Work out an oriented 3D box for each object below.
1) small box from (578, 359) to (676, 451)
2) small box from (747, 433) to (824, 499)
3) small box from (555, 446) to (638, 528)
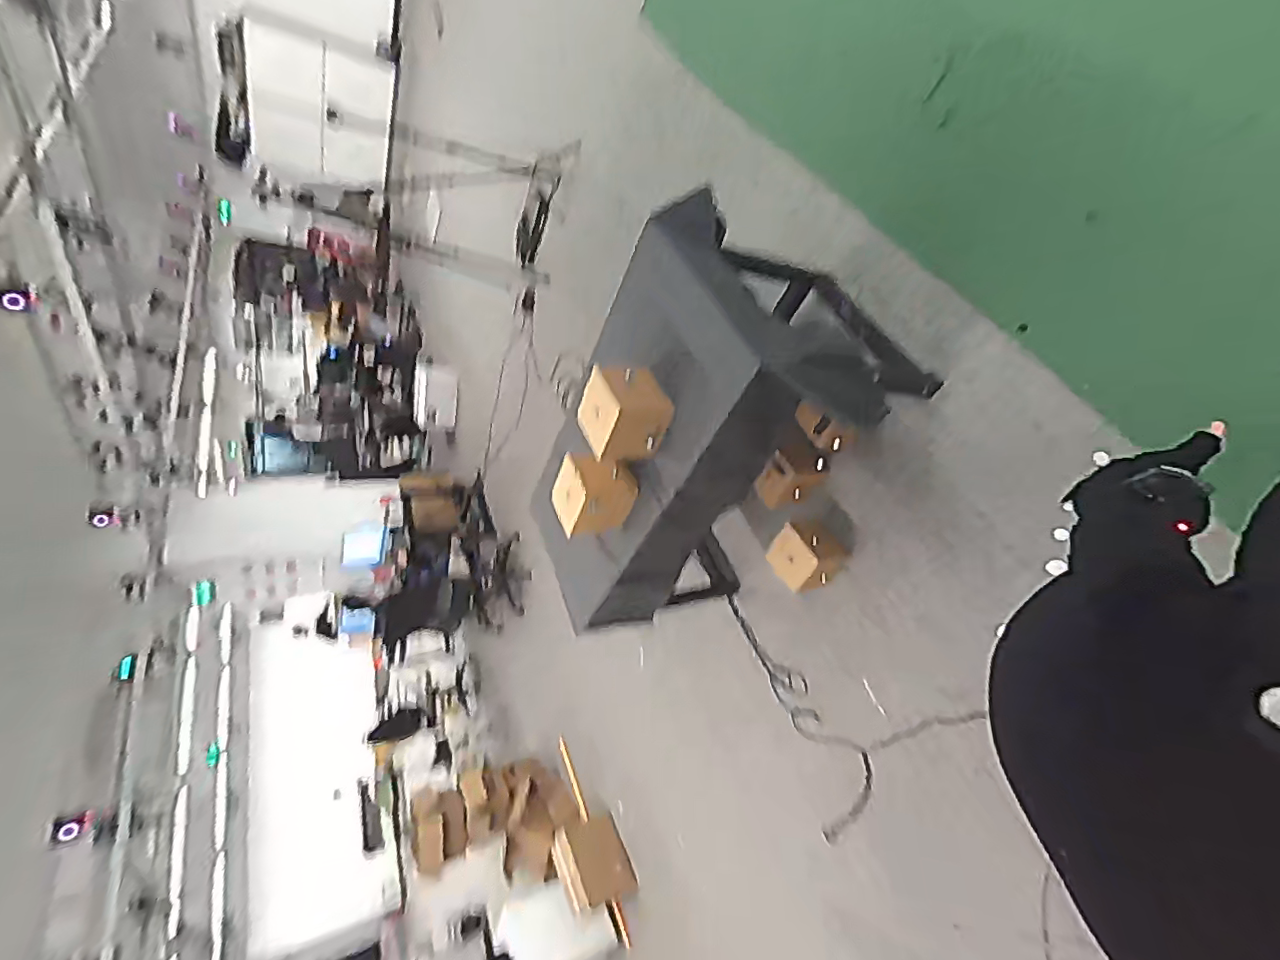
[{"bbox_3d":[-0.036,-0.192,1.407,0.179,0.176,0.168,62,141,33],"label":"small box"},{"bbox_3d":[0.518,-0.053,1.901,0.168,0.176,0.179,62,141,33],"label":"small box"},{"bbox_3d":[-0.128,0.020,1.571,0.168,0.176,0.179,60,139,35],"label":"small box"}]
